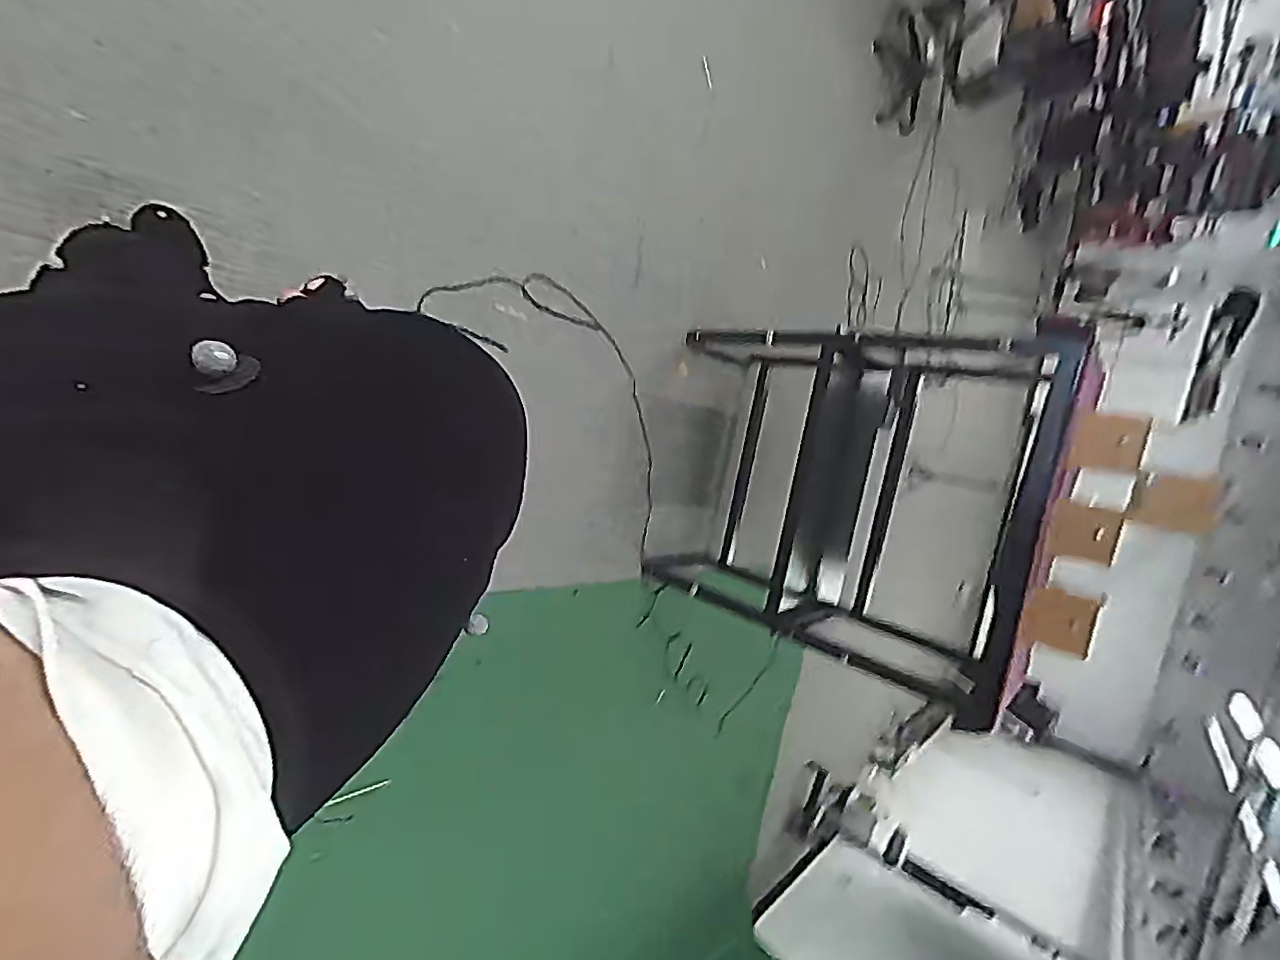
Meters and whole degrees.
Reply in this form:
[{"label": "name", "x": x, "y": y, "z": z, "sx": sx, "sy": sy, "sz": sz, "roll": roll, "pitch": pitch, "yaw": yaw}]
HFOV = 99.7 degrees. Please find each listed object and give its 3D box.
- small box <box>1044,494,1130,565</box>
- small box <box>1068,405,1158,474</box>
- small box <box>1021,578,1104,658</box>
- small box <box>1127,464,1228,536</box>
[{"label": "small box", "x": 1.332, "y": 0.141, "z": 1.615, "sx": 0.168, "sy": 0.176, "sz": 0.179, "roll": 4, "pitch": 99, "yaw": -48}, {"label": "small box", "x": 1.388, "y": -0.120, "z": 1.592, "sx": 0.168, "sy": 0.176, "sz": 0.179, "roll": 1, "pitch": 101, "yaw": -46}, {"label": "small box", "x": 1.283, "y": 0.413, "z": 1.648, "sx": 0.168, "sy": 0.176, "sz": 0.179, "roll": 4, "pitch": 98, "yaw": -48}, {"label": "small box", "x": 1.482, "y": 0.054, "z": 1.503, "sx": 0.179, "sy": 0.176, "sz": 0.168, "roll": 6, "pitch": 98, "yaw": -48}]
